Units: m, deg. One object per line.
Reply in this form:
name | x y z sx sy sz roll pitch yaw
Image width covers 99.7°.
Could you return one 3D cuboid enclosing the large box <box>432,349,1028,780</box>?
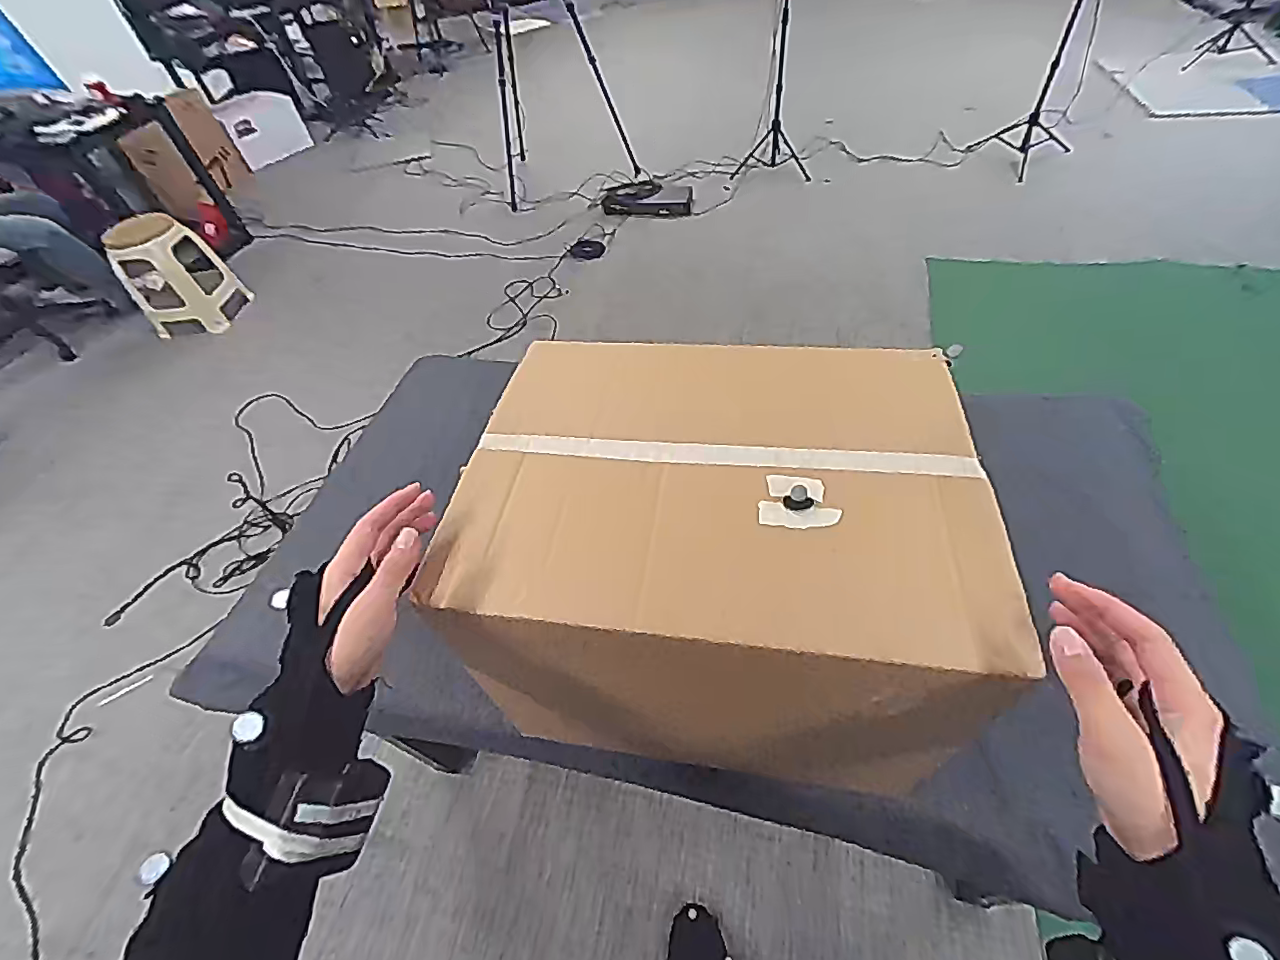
large box | 0.075 0.083 0.564 0.408 0.320 0.320 4 50 9
